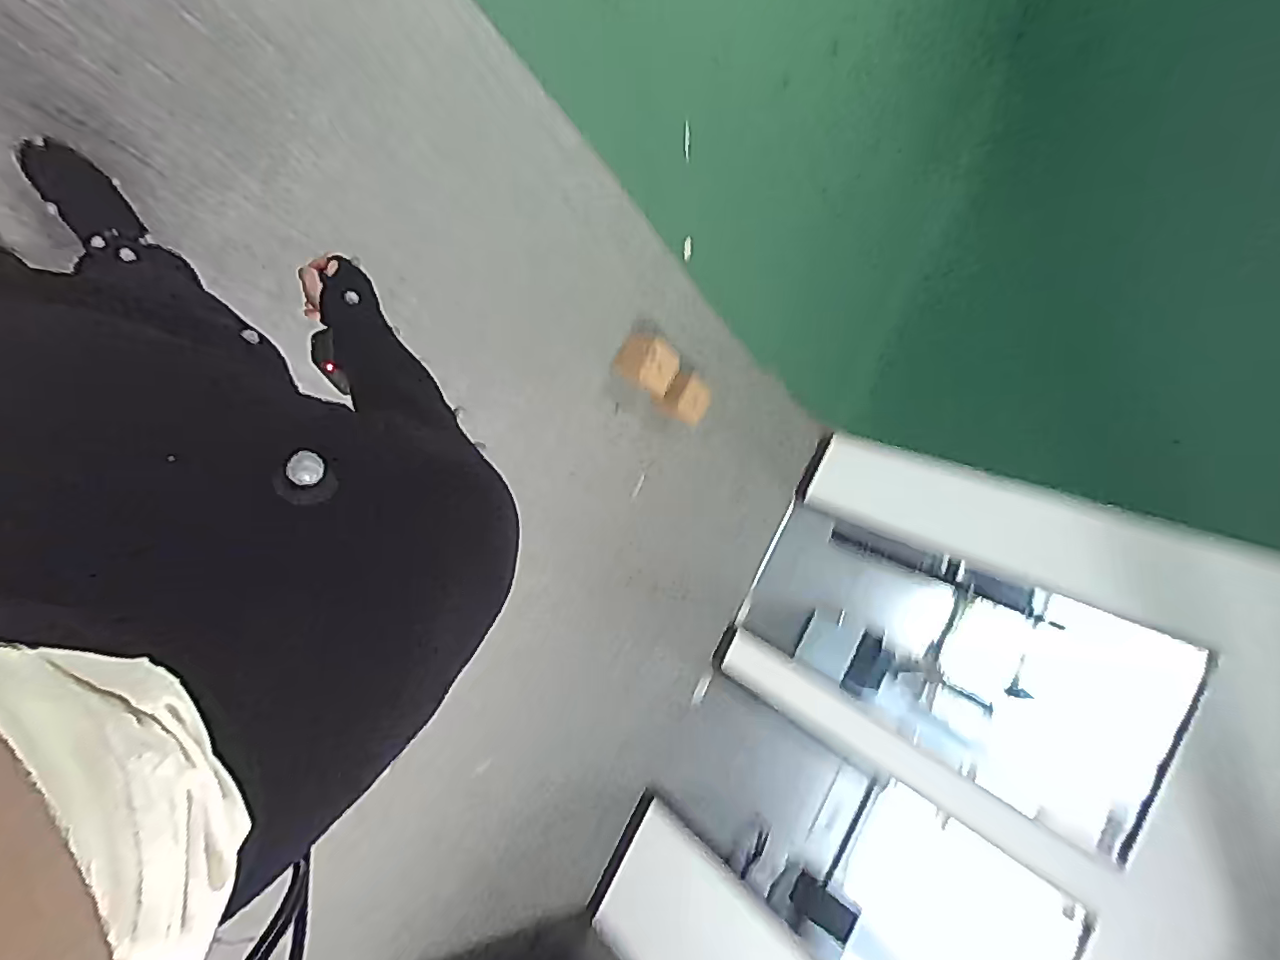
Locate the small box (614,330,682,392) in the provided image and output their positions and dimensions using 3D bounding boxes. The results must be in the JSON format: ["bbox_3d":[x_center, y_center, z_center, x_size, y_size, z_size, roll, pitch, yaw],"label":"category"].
[{"bbox_3d":[0.031,-0.479,2.147,0.179,0.176,0.168,32,85,-50],"label":"small box"}]
